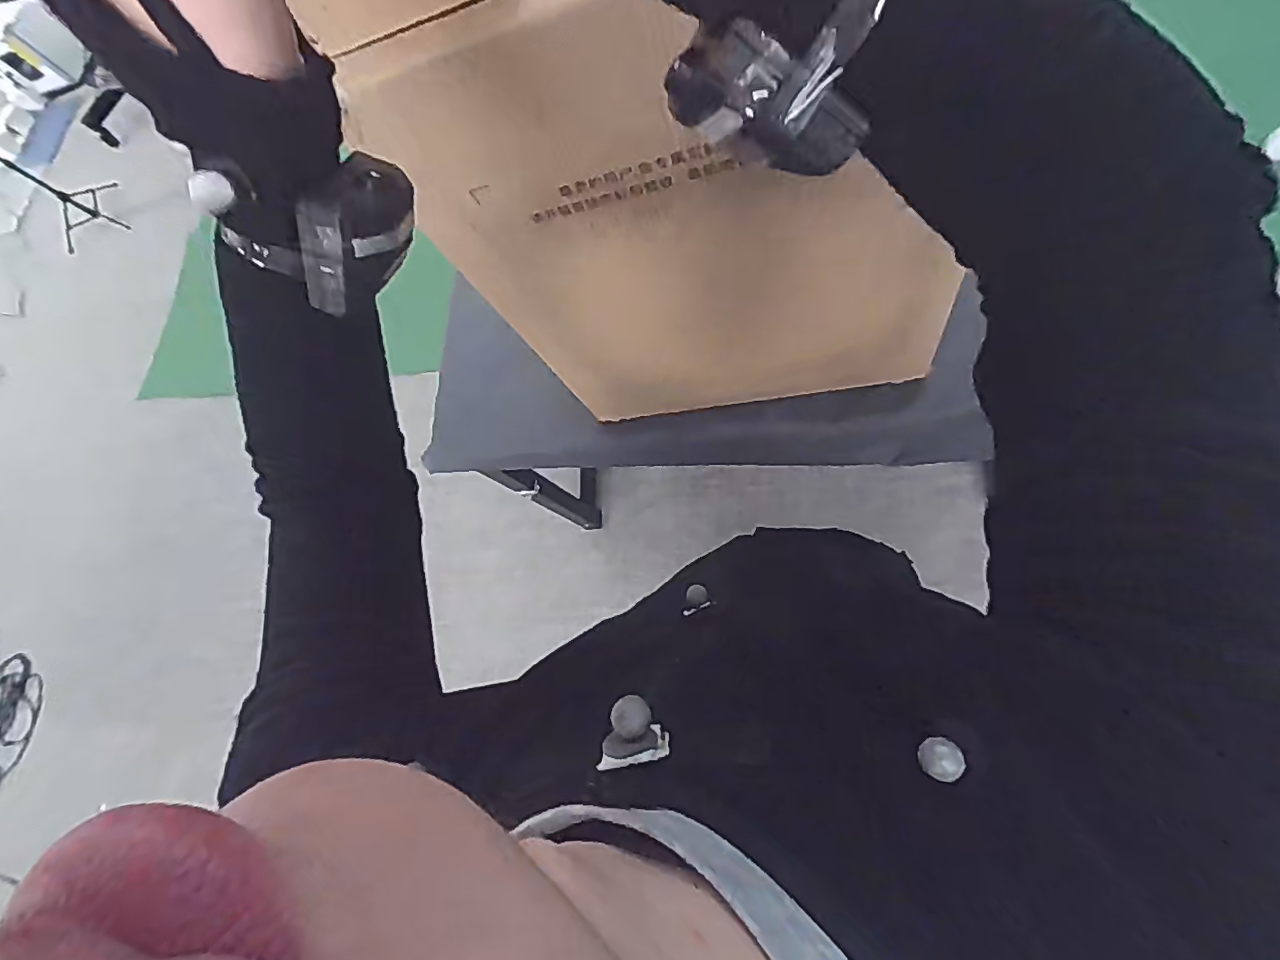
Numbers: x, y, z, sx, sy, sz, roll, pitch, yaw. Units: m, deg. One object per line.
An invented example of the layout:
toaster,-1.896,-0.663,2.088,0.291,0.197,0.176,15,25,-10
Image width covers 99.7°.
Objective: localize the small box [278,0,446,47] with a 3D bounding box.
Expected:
small box,-0.187,-0.421,0.329,0.179,0.176,0.168,-6,72,18
